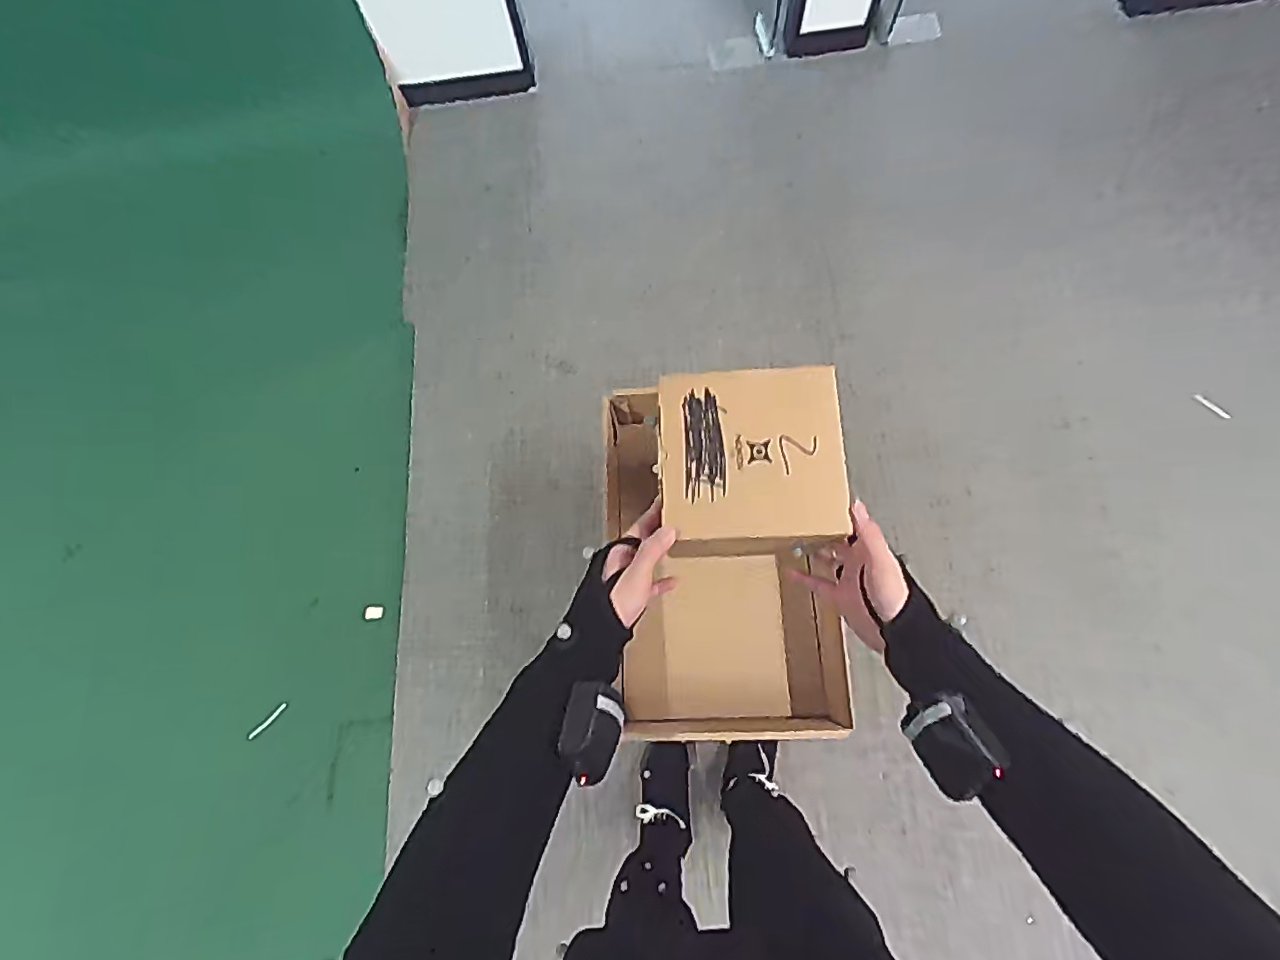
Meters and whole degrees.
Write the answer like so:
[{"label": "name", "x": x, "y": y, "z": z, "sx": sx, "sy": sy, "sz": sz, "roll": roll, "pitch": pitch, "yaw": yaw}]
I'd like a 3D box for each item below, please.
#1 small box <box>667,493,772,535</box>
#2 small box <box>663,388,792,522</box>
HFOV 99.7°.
[{"label": "small box", "x": 0.139, "y": 0.009, "z": 1.015, "sx": 0.179, "sy": 0.176, "sz": 0.168, "roll": -2, "pitch": 74, "yaw": 3}, {"label": "small box", "x": 0.128, "y": -0.032, "z": 0.856, "sx": 0.179, "sy": 0.176, "sz": 0.168, "roll": -4, "pitch": 74, "yaw": 4}]
